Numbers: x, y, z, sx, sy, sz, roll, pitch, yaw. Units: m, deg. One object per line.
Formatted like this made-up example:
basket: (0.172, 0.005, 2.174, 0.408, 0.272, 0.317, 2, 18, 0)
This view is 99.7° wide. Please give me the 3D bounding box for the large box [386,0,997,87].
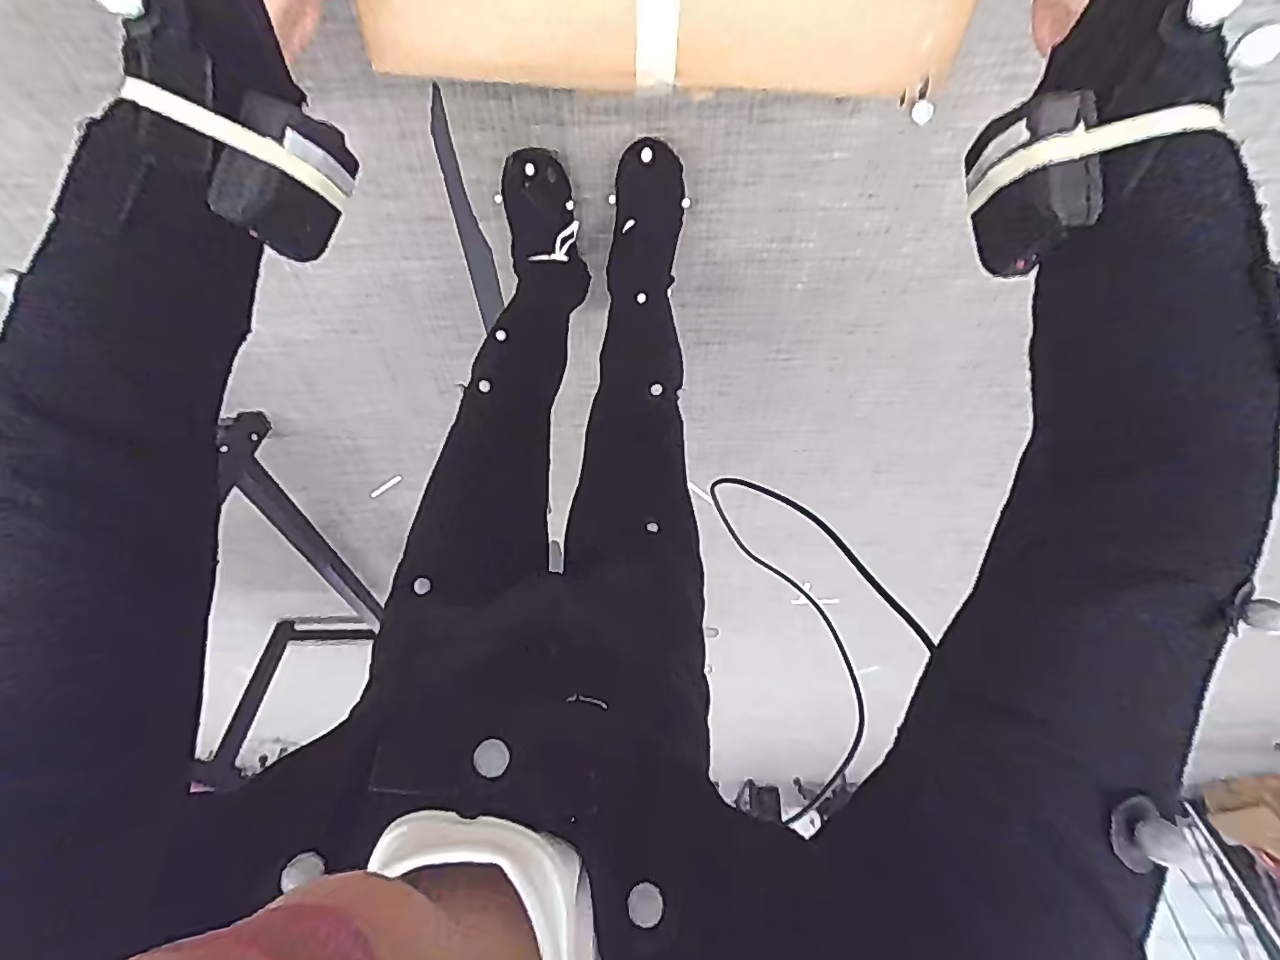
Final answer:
large box: (0.032, -0.463, 0.252, 0.320, 0.320, 0.408, 4, 136, 2)
